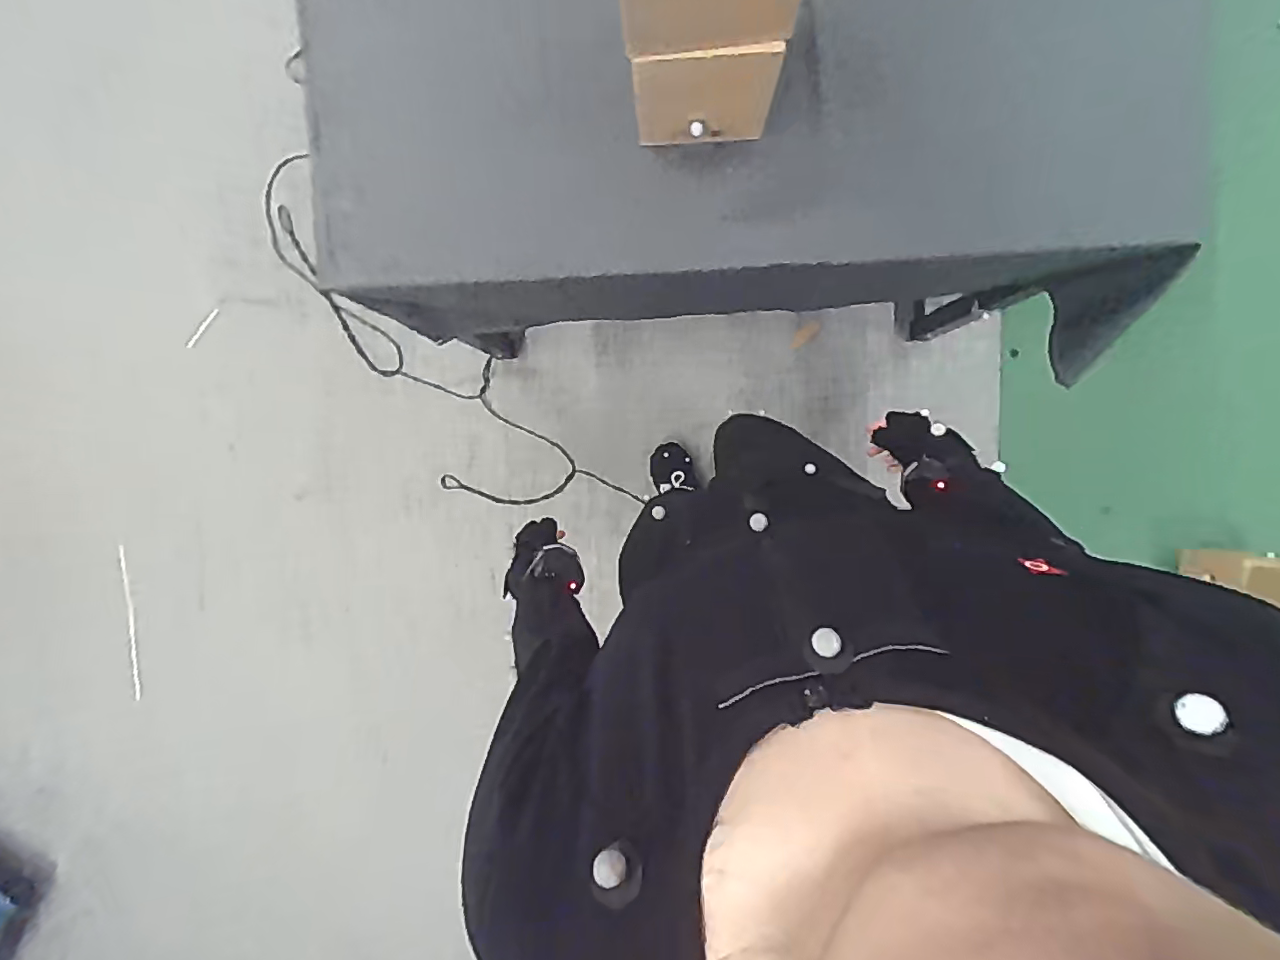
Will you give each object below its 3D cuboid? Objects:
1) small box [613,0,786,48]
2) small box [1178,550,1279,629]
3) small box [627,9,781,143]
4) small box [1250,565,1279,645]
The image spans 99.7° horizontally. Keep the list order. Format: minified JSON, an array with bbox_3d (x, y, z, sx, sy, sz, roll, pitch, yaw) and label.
[{"bbox_3d":[0.056,-0.538,0.488,0.179,0.176,0.168,-3,92,4],"label":"small box"},{"bbox_3d":[1.494,0.270,1.333,0.179,0.176,0.168,3,93,3],"label":"small box"},{"bbox_3d":[0.071,-0.543,0.650,0.168,0.176,0.179,-1,93,4],"label":"small box"},{"bbox_3d":[1.494,0.286,1.169,0.168,0.176,0.179,2,94,3],"label":"small box"}]
